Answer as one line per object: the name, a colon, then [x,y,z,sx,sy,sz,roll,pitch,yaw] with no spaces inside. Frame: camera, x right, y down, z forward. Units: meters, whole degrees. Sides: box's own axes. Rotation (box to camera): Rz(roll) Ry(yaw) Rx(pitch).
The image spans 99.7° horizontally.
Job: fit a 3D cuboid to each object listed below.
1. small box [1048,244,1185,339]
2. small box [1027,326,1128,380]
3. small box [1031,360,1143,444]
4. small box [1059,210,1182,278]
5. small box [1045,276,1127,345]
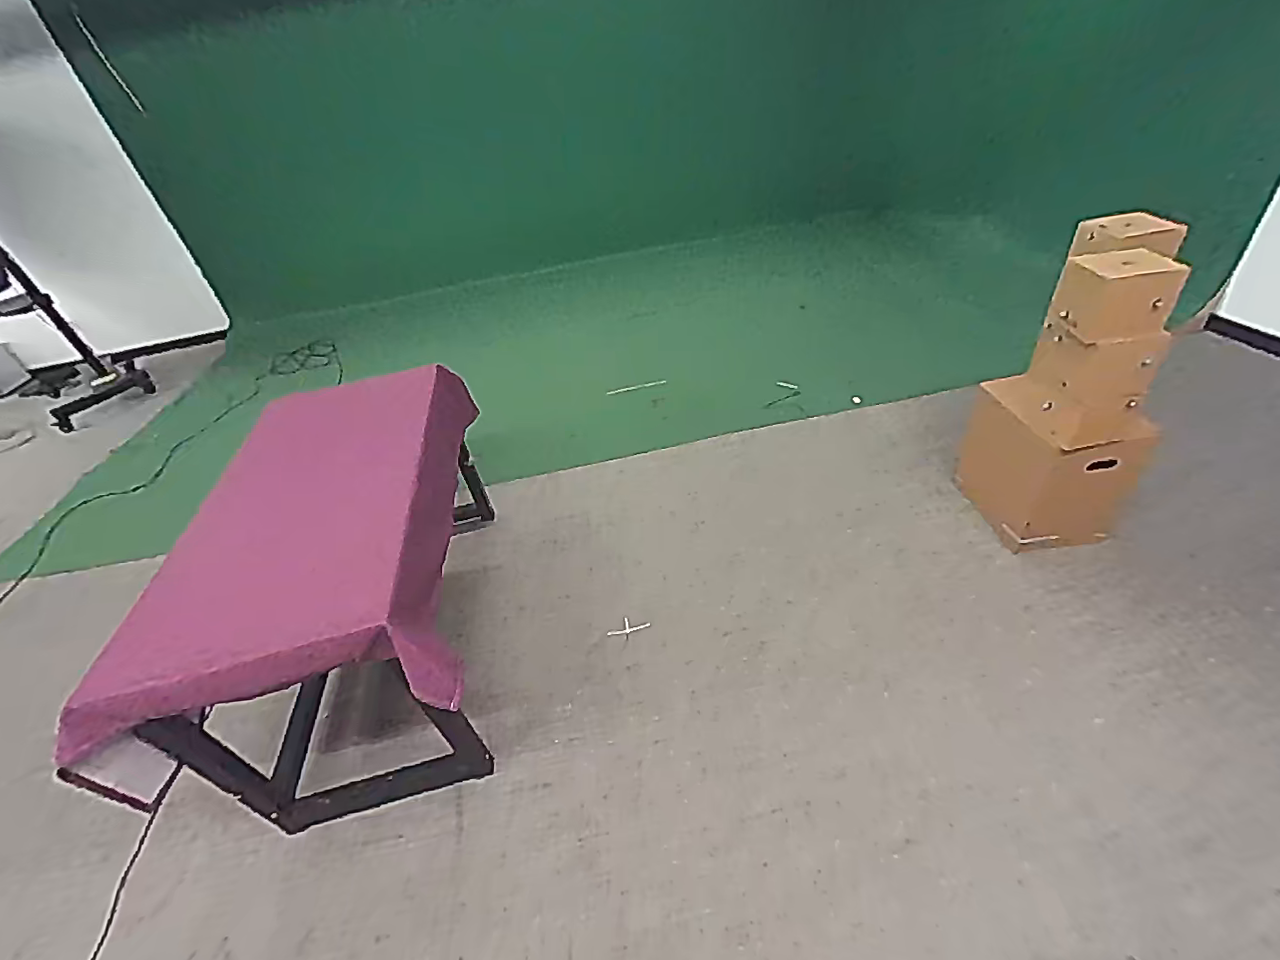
small box: [1.189,-0.475,1.368,0.179,0.176,0.168,-6,38,6]
small box: [1.394,-0.391,1.741,0.168,0.176,0.179,-6,40,6]
small box: [1.274,-0.222,1.561,0.179,0.176,0.168,-11,39,0]
small box: [1.355,-0.651,1.541,0.179,0.176,0.168,-8,38,2]
small box: [1.372,-0.521,1.641,0.179,0.176,0.168,-4,39,7]
